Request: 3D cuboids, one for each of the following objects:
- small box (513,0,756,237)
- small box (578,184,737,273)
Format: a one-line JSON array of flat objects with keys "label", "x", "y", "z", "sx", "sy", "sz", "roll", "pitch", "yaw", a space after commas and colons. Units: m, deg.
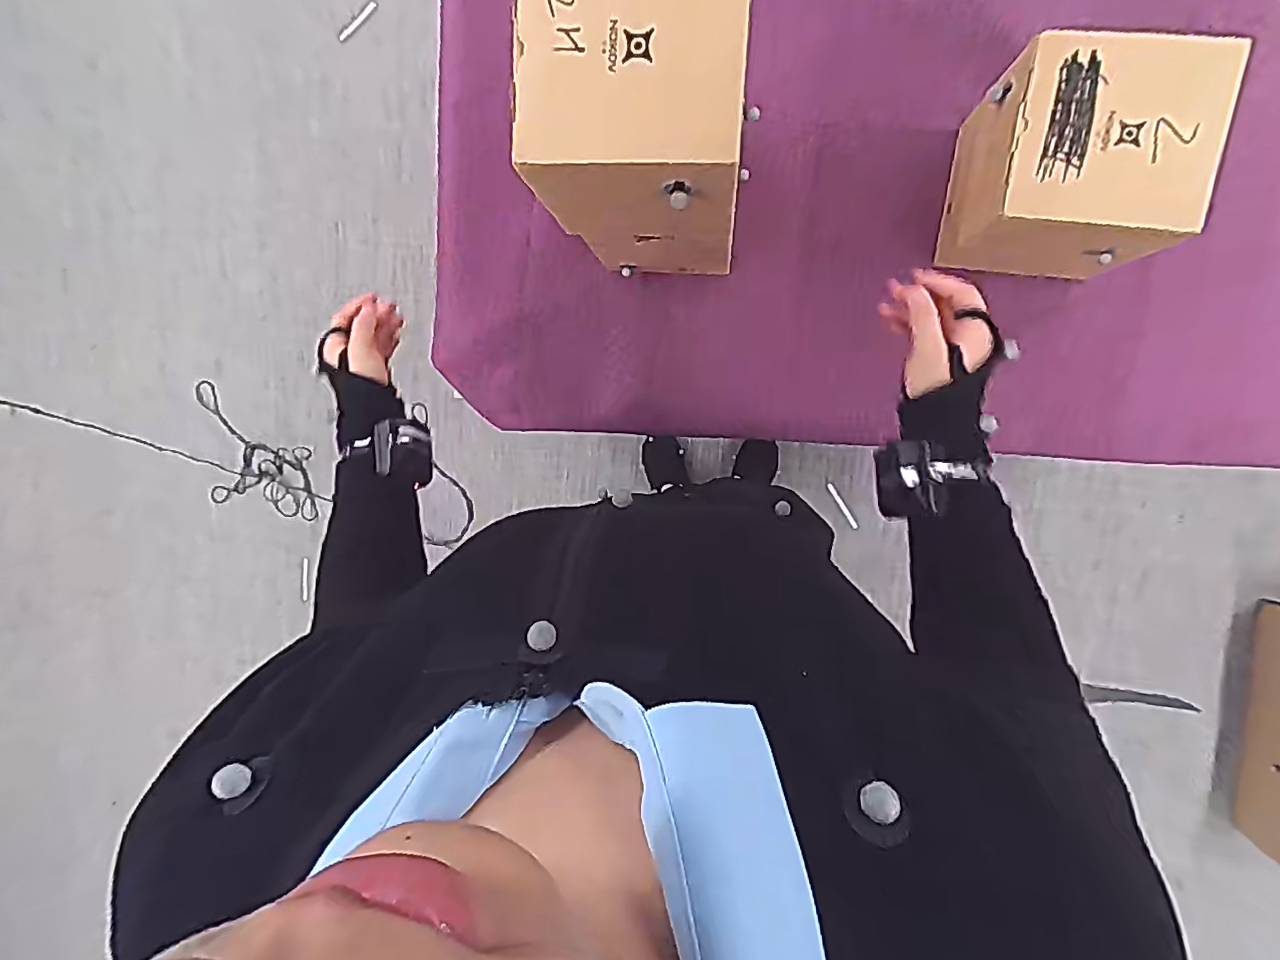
[{"label": "small box", "x": 0.003, "y": -0.326, "z": 0.474, "sx": 0.179, "sy": 0.176, "sz": 0.168, "roll": 4, "pitch": 97, "yaw": 8}, {"label": "small box", "x": 0.030, "y": -0.353, "z": 0.635, "sx": 0.168, "sy": 0.176, "sz": 0.179, "roll": 5, "pitch": 97, "yaw": 7}]
